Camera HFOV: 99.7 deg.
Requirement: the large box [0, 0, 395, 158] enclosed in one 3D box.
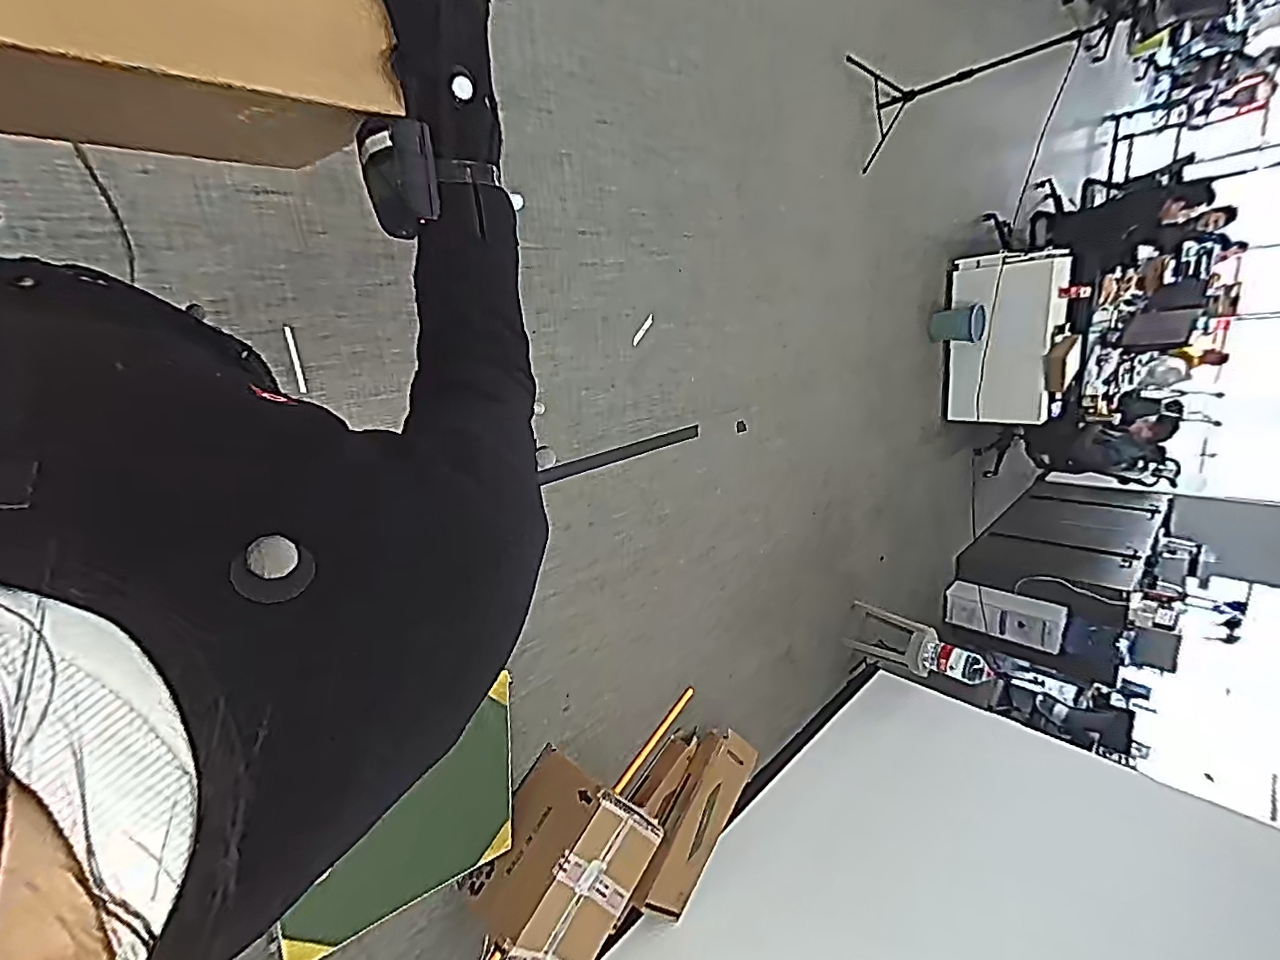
[{"bbox_3d":[-0.408,-0.386,0.286,0.408,0.320,0.320,-17,119,-39],"label":"large box"}]
